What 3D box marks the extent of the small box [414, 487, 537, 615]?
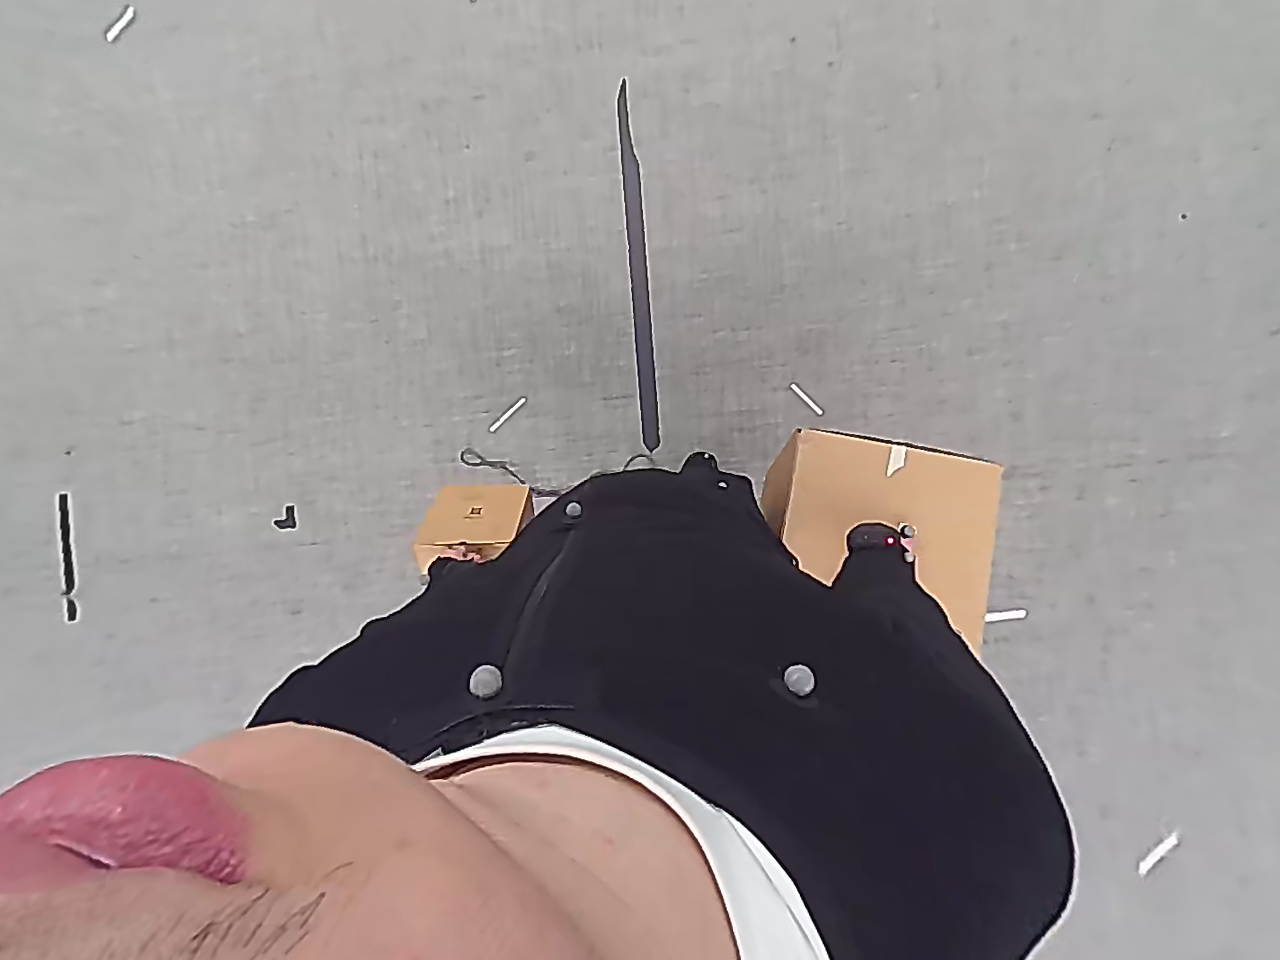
[{"bbox_3d":[-0.286,0.131,0.990,0.168,0.179,0.176,-1,122,-1],"label":"small box"}]
